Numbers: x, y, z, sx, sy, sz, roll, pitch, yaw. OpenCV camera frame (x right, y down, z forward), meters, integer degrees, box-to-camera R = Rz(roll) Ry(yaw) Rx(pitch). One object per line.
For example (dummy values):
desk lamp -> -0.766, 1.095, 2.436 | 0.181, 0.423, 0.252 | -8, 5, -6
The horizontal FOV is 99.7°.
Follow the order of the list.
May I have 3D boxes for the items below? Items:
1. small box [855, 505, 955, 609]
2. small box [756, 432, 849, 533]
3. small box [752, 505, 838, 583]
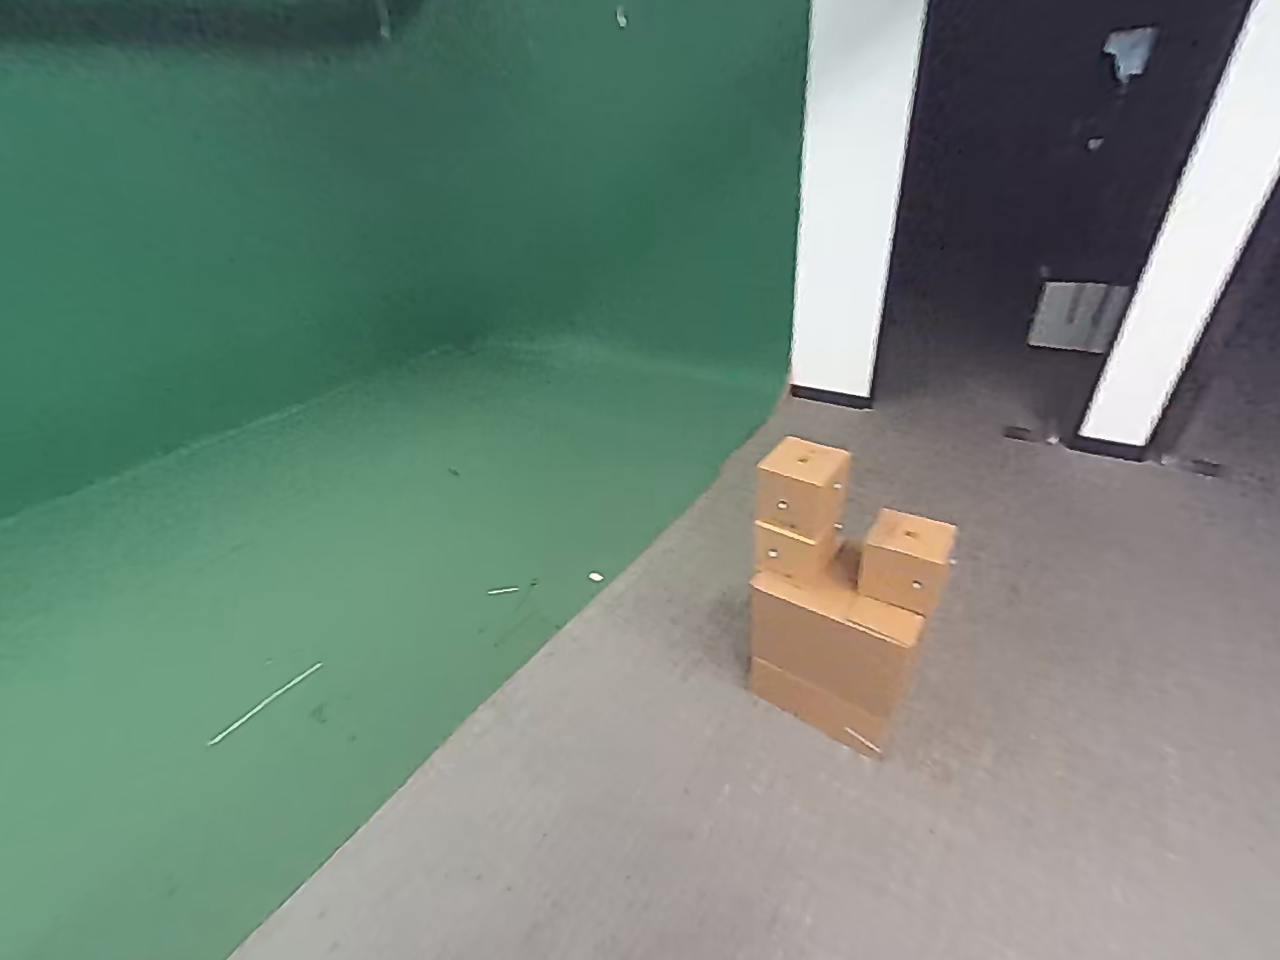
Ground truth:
small box -> 0.660, 0.194, 1.353 | 0.179, 0.176, 0.168 | 17, 39, 33
small box -> 0.409, 0.006, 1.372 | 0.168, 0.176, 0.179 | 23, 44, 33
small box -> 0.415, 0.148, 1.457 | 0.168, 0.176, 0.179 | 21, 43, 32
